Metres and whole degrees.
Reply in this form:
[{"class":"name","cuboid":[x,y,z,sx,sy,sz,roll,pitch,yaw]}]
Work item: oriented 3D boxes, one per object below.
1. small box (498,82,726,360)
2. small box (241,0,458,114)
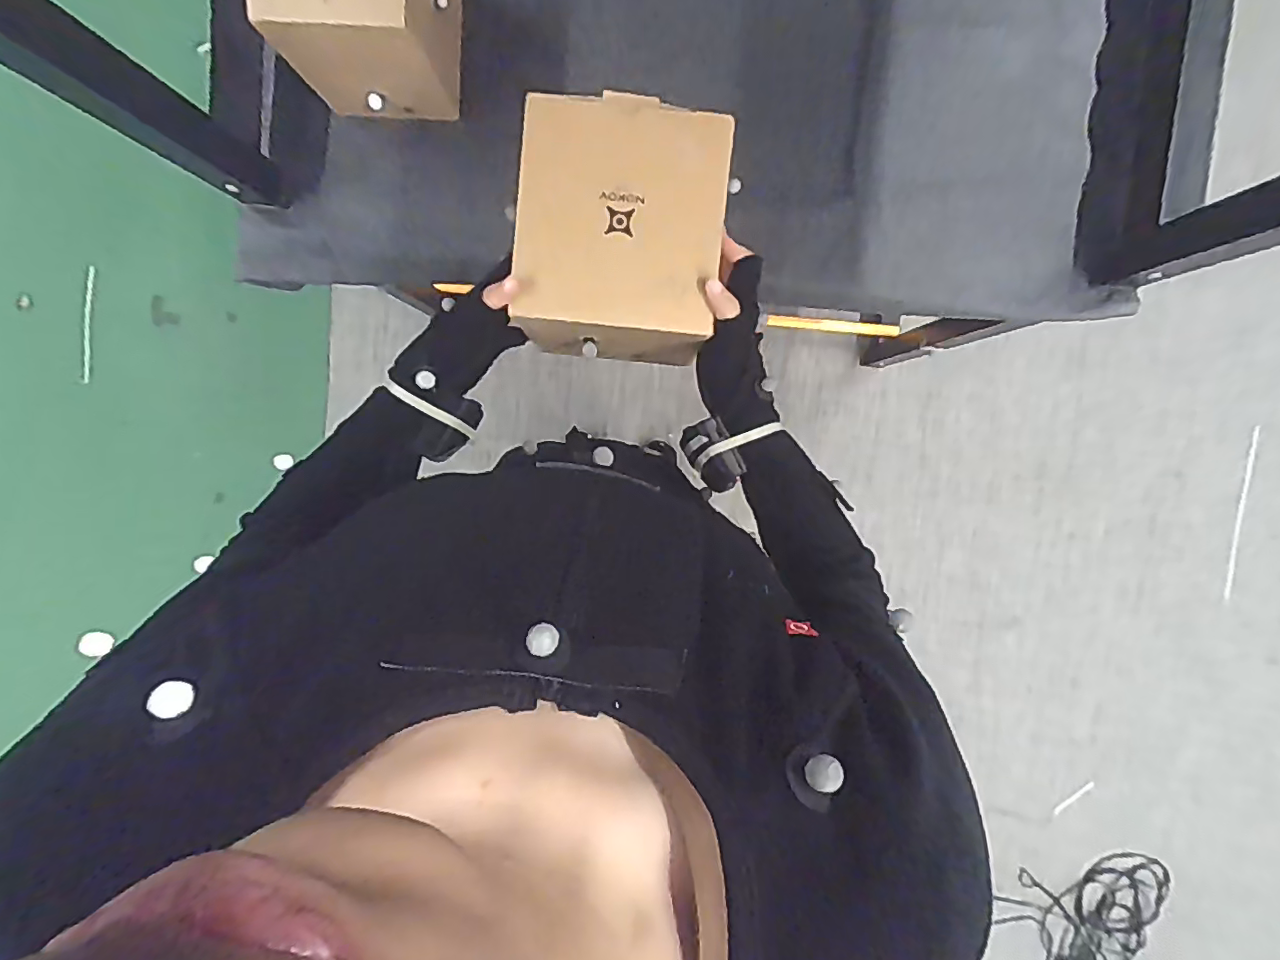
[{"class":"small box","cuboid":[-0.023,-0.216,0.501,0.168,0.176,0.179,6,92,-2]},{"class":"small box","cuboid":[-0.318,-0.564,0.620,0.168,0.176,0.179,3,96,0]}]
